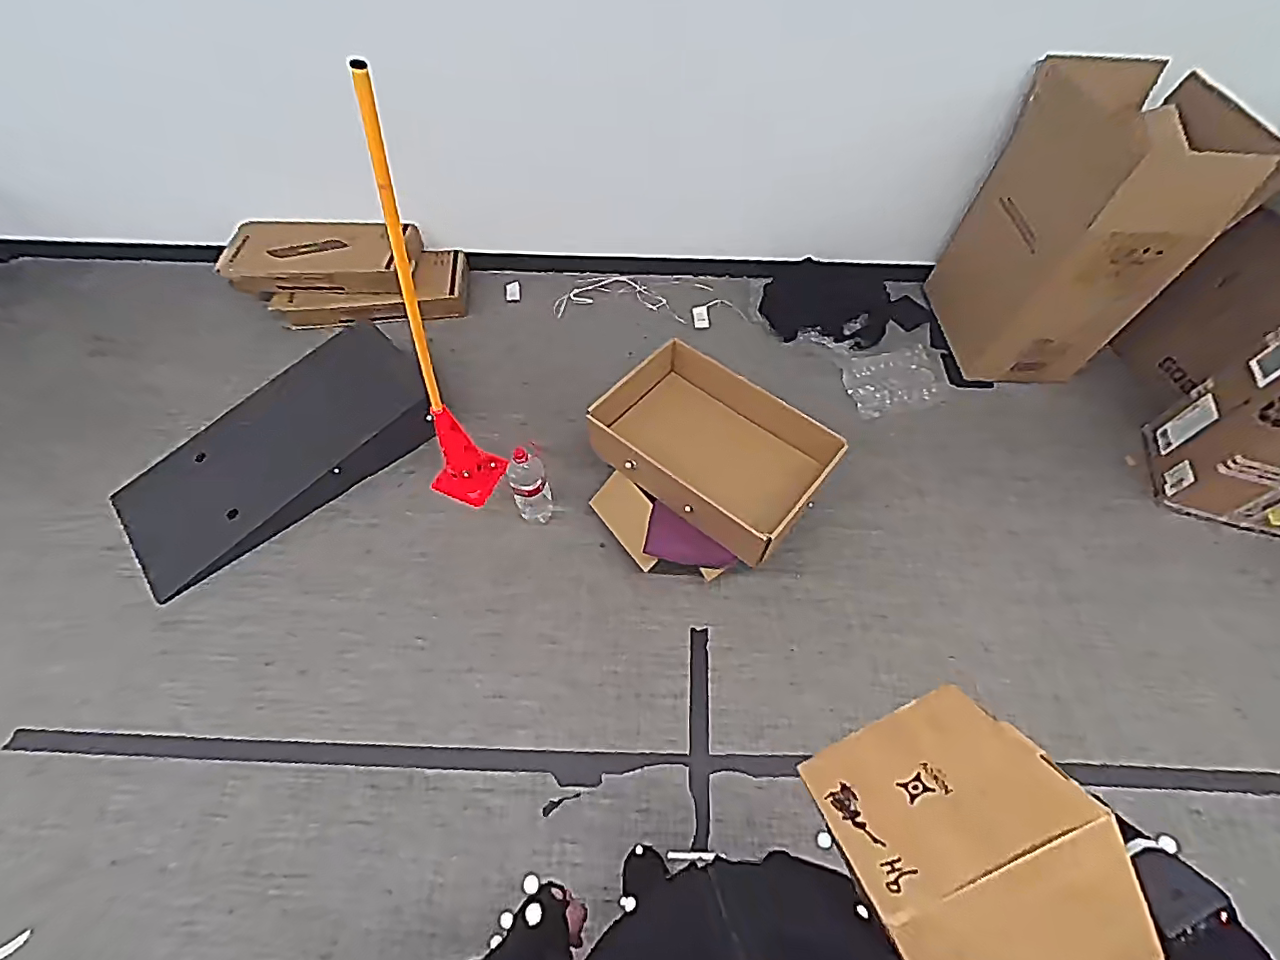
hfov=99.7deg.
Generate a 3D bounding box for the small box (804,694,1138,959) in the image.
[{"bbox_3d":[0.280,0.335,0.476,0.179,0.168,0.176,-26,100,-1],"label":"small box"}]
